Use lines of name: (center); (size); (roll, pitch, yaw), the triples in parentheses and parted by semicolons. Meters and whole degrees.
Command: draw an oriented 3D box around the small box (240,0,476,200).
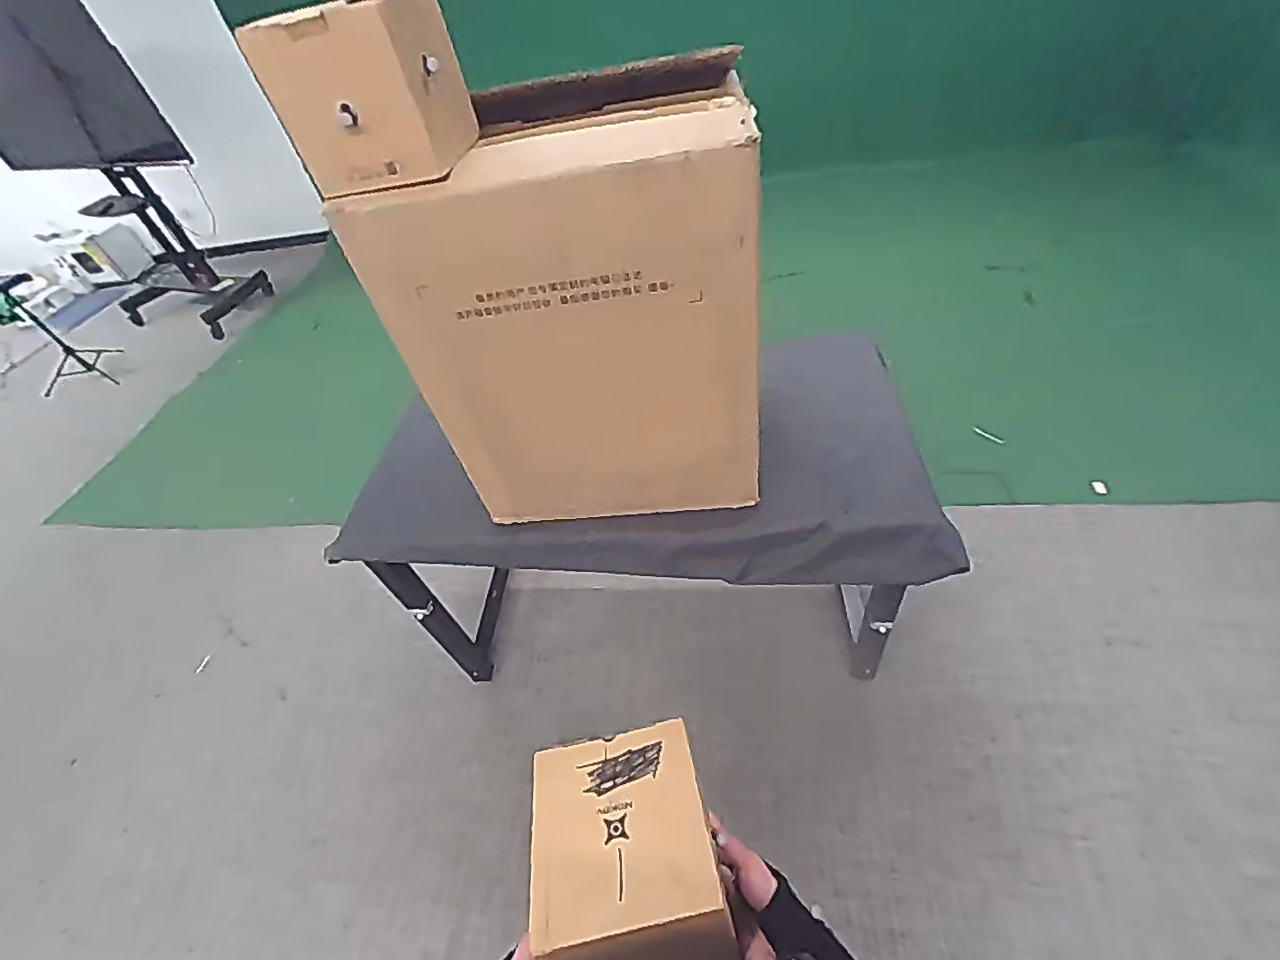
small box: (-0.323, -0.464, 0.668); (0.168, 0.176, 0.179); (-4, 47, 9)
